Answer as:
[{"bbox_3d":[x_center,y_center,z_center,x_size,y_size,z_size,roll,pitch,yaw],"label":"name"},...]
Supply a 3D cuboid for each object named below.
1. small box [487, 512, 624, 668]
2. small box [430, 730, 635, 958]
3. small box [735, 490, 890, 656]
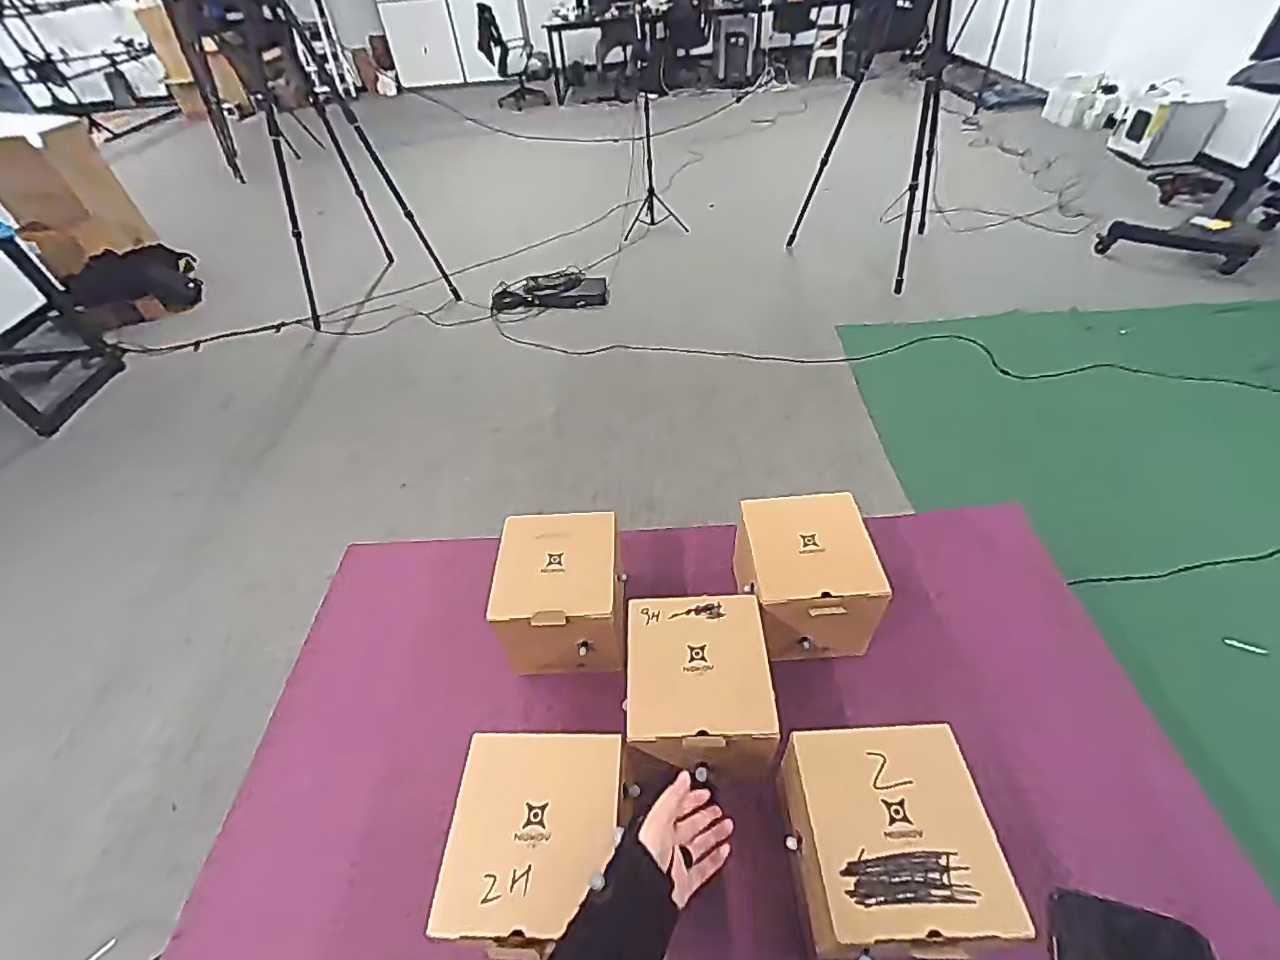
[{"bbox_3d":[-0.111,0.169,0.805,0.168,0.176,0.179,-3,46,2],"label":"small box"},{"bbox_3d":[-0.097,0.392,0.586,0.168,0.176,0.179,-2,46,5],"label":"small box"},{"bbox_3d":[0.237,0.138,0.797,0.168,0.176,0.179,-5,47,1],"label":"small box"}]
